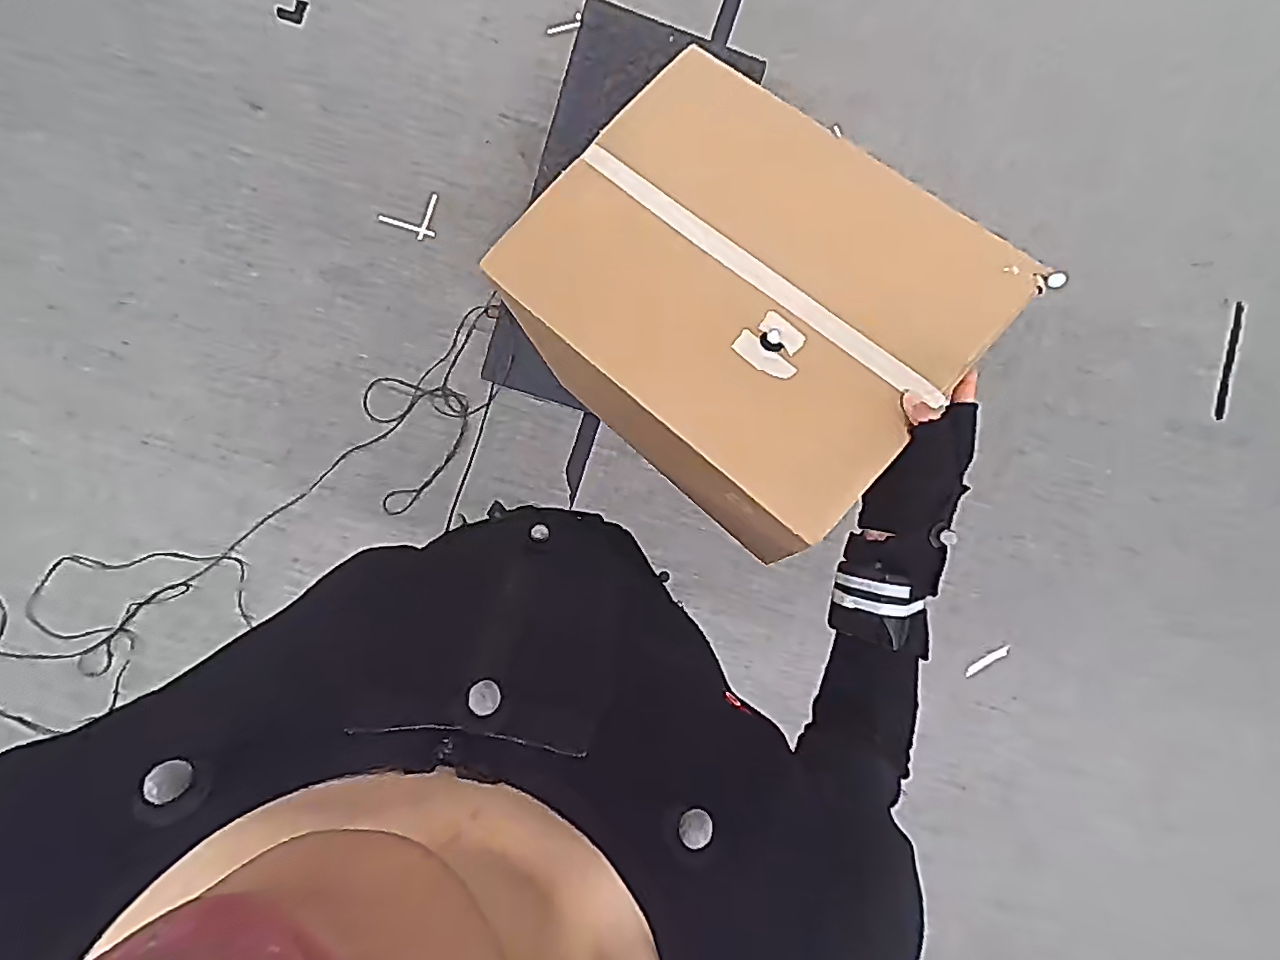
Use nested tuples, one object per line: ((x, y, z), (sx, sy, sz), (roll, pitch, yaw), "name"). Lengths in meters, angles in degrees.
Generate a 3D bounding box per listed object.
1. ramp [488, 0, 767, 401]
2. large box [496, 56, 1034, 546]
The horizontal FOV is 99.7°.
((-0.041, -0.706, 1.447), (0.509, 0.206, 0.991), (15, 86, -6), "ramp")
((0.115, -0.171, 0.647), (0.408, 0.320, 0.320), (42, 86, 11), "large box")
